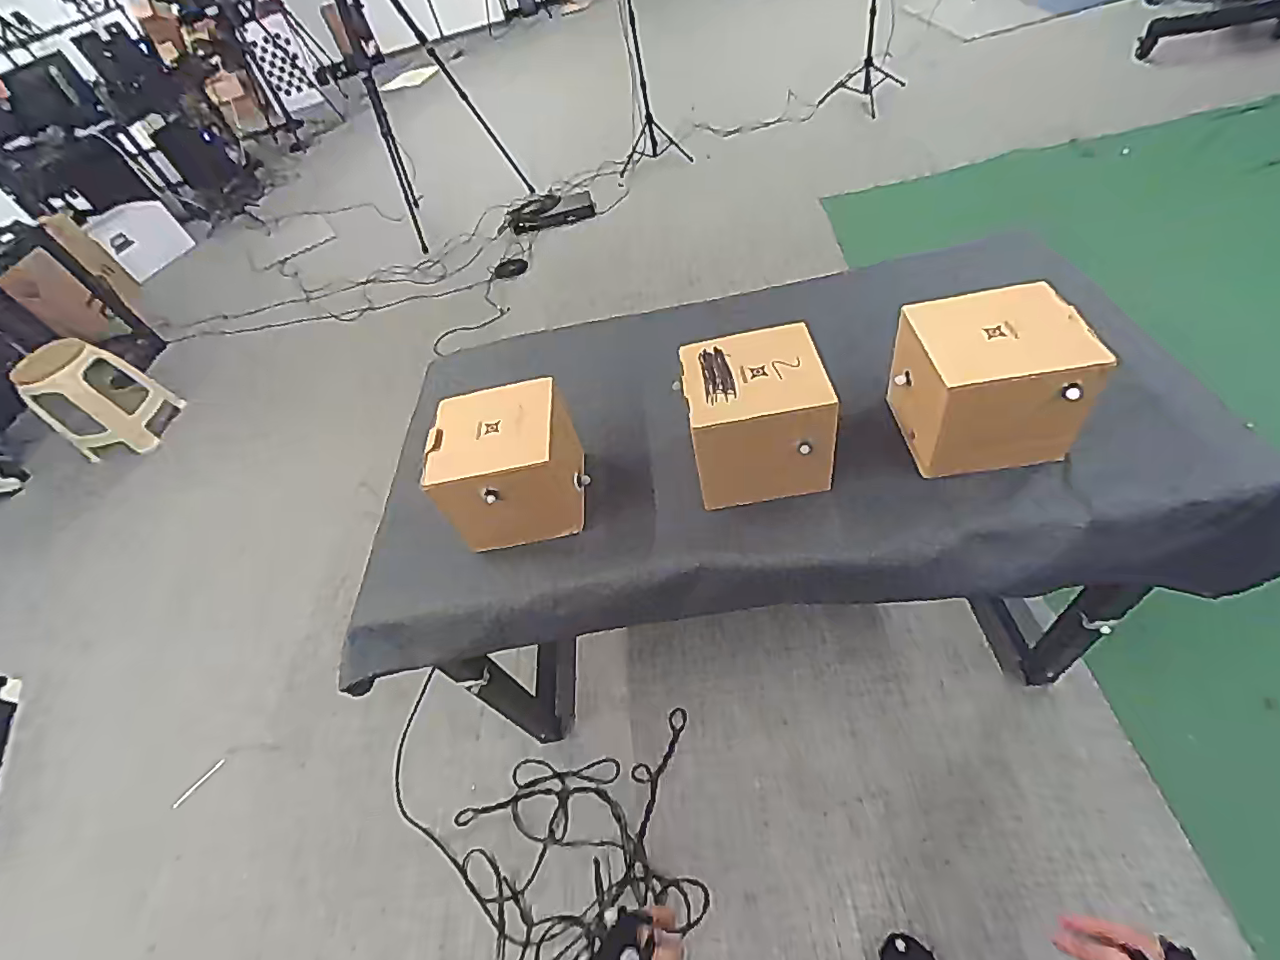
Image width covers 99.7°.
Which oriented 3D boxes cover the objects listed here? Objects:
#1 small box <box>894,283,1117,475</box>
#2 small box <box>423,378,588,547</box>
[{"bbox_3d":[0.445,-0.123,0.701,0.179,0.176,0.168,-8,49,9],"label":"small box"},{"bbox_3d":[-0.183,-0.019,0.790,0.179,0.176,0.168,-10,50,6],"label":"small box"}]
